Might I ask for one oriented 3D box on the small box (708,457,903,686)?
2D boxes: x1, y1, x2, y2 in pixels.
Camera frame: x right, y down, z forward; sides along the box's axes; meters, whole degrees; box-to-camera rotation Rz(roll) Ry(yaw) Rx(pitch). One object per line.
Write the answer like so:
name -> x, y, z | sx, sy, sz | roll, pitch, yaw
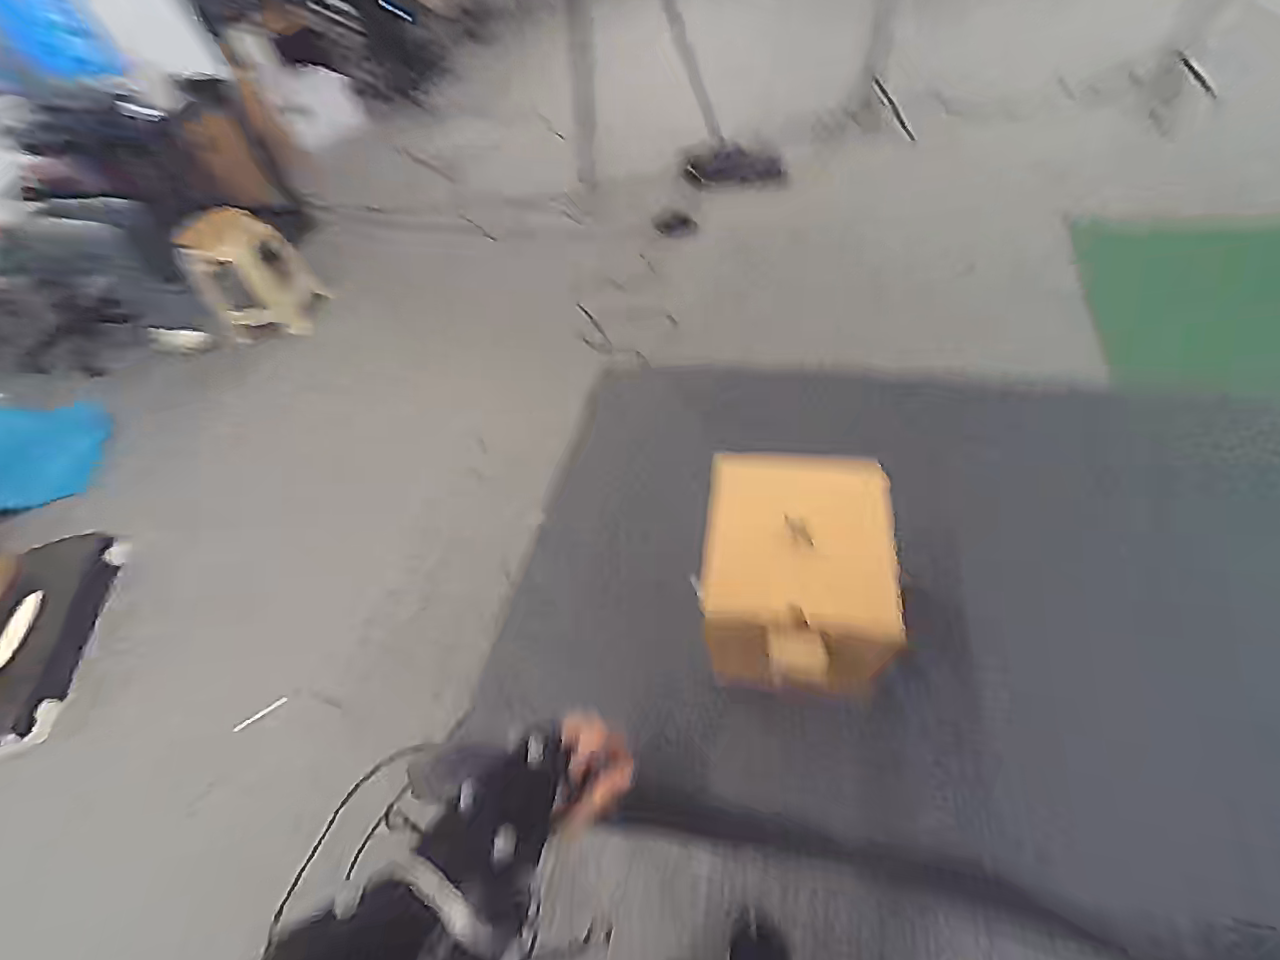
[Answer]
small box -> 0.162, 0.097, 0.574 | 0.168, 0.176, 0.179 | 3, 54, 11
